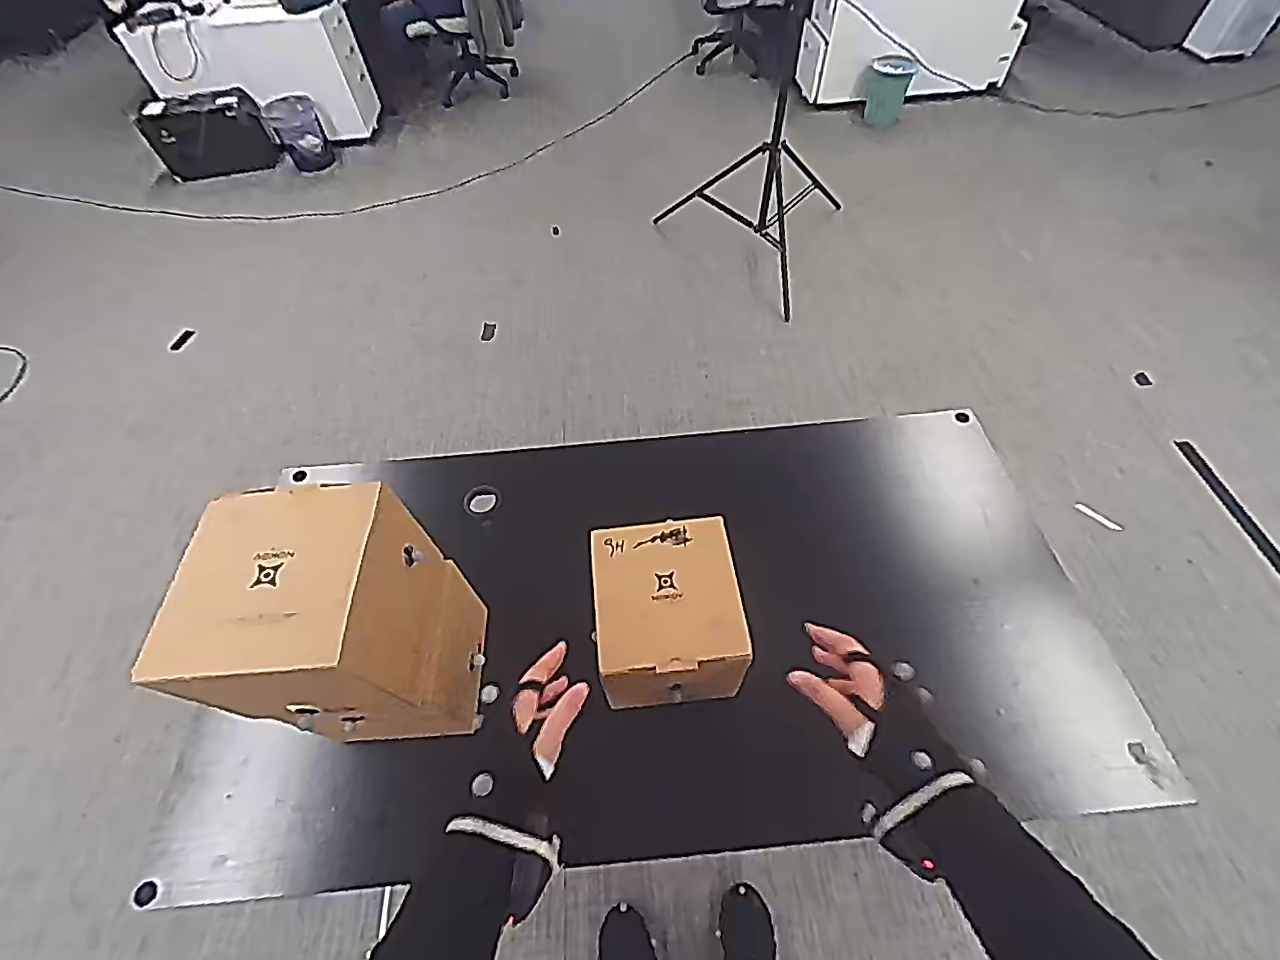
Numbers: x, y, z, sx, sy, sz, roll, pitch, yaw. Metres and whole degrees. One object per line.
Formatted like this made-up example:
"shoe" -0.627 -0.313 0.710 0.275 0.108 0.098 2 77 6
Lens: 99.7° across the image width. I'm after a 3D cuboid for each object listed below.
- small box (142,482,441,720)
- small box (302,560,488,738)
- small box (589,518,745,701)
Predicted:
"small box" -0.312 0.123 0.536 0.168 0.176 0.179 -6 56 0
"small box" -0.304 0.214 0.670 0.179 0.176 0.168 -4 56 -1
"small box" 0.030 0.171 0.686 0.168 0.176 0.179 -6 56 -1
